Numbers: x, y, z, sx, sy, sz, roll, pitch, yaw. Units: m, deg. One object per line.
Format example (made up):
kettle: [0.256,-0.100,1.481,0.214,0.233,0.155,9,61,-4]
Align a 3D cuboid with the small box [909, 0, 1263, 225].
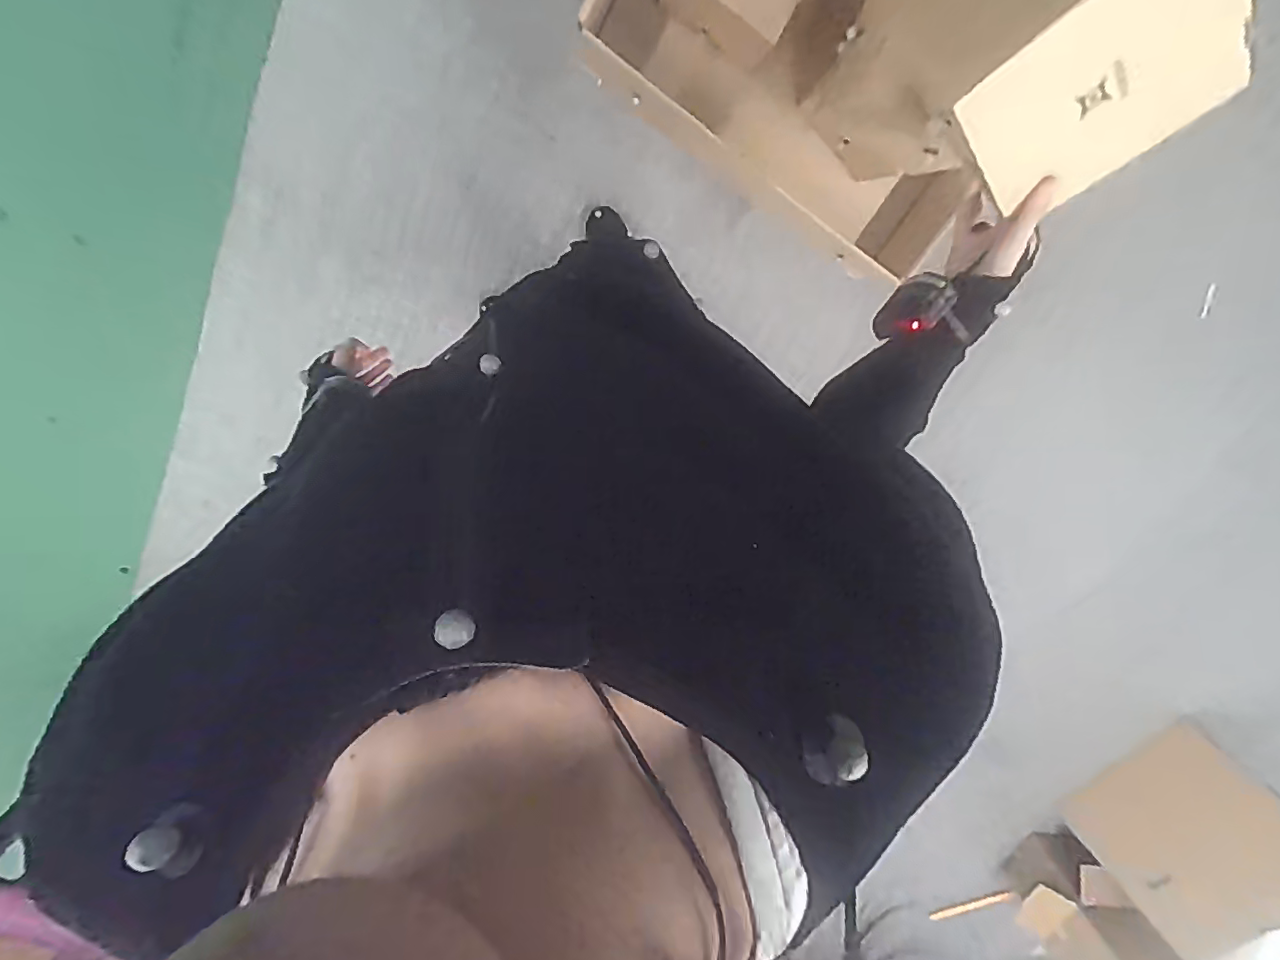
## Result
small box: [0.353,-0.370,0.455,0.179,0.176,0.168,-30,140,35]

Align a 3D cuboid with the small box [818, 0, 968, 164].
small box: [0.350,-0.505,0.650,0.179,0.176,0.168,21,112,-12]
